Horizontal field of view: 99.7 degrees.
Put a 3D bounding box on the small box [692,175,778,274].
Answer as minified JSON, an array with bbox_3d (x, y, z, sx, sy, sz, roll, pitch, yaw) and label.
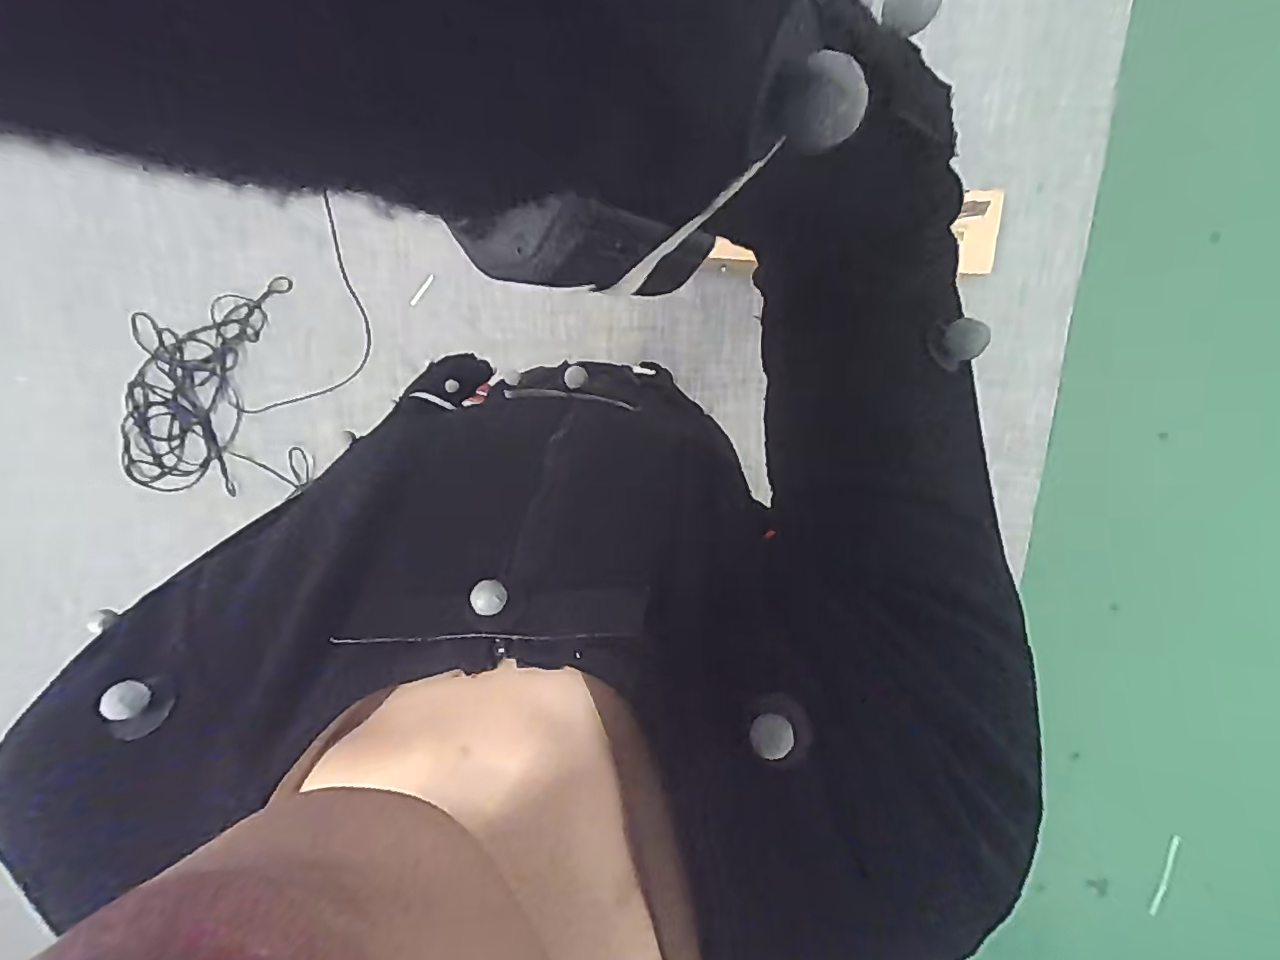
[{"bbox_3d":[0.213,-0.587,1.263,0.168,0.176,0.179,3,103,-1],"label":"small box"}]

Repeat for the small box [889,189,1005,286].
[{"bbox_3d":[0.708,-0.561,1.268,0.168,0.176,0.179,2,103,0],"label":"small box"}]
